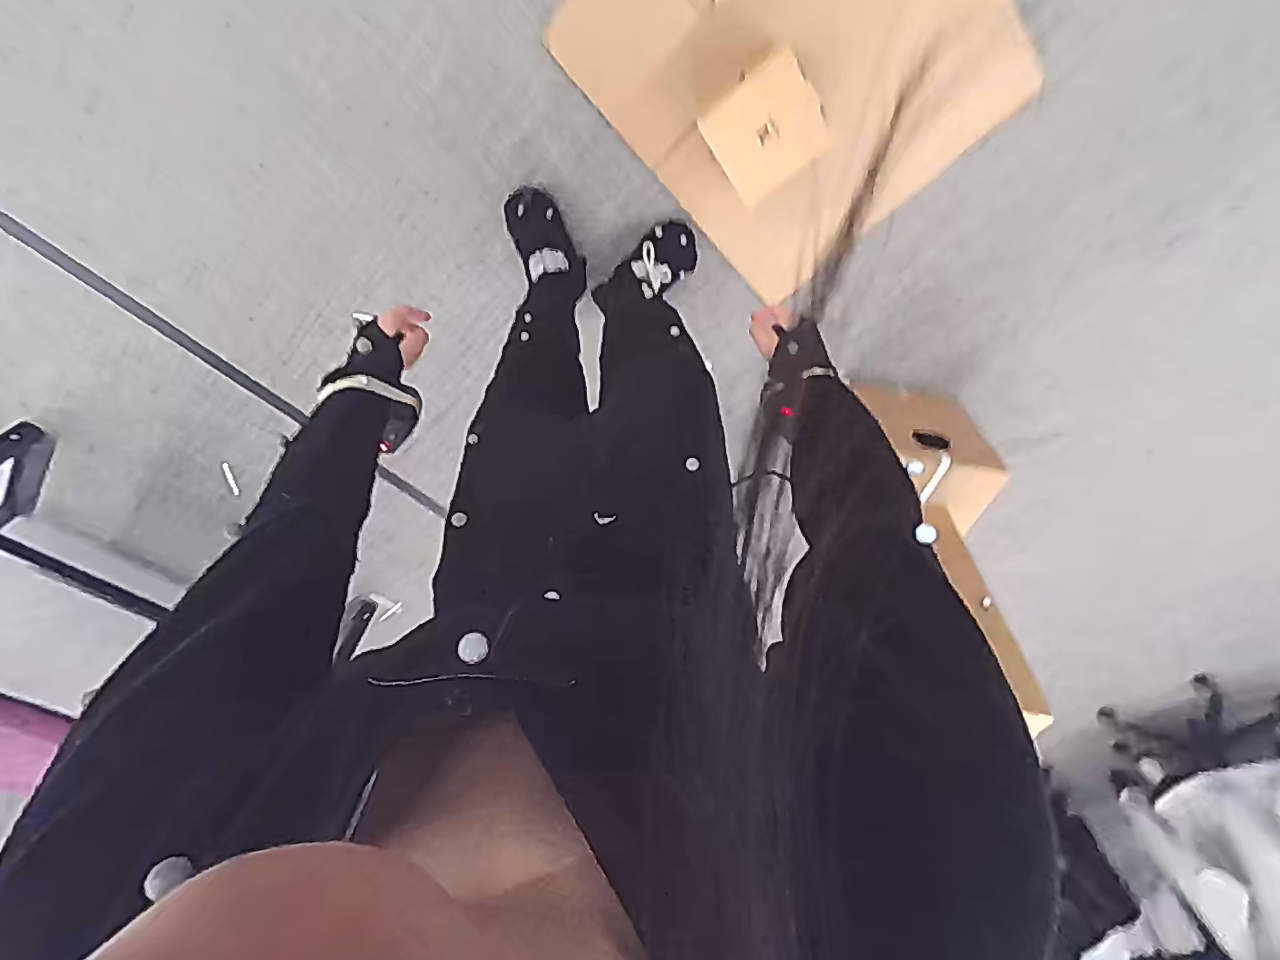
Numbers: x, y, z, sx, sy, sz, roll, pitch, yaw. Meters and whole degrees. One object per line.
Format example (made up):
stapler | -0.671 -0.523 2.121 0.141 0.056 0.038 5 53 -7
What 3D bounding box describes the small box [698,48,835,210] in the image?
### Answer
small box | 0.222 -0.628 0.973 0.179 0.176 0.168 -30 120 26
